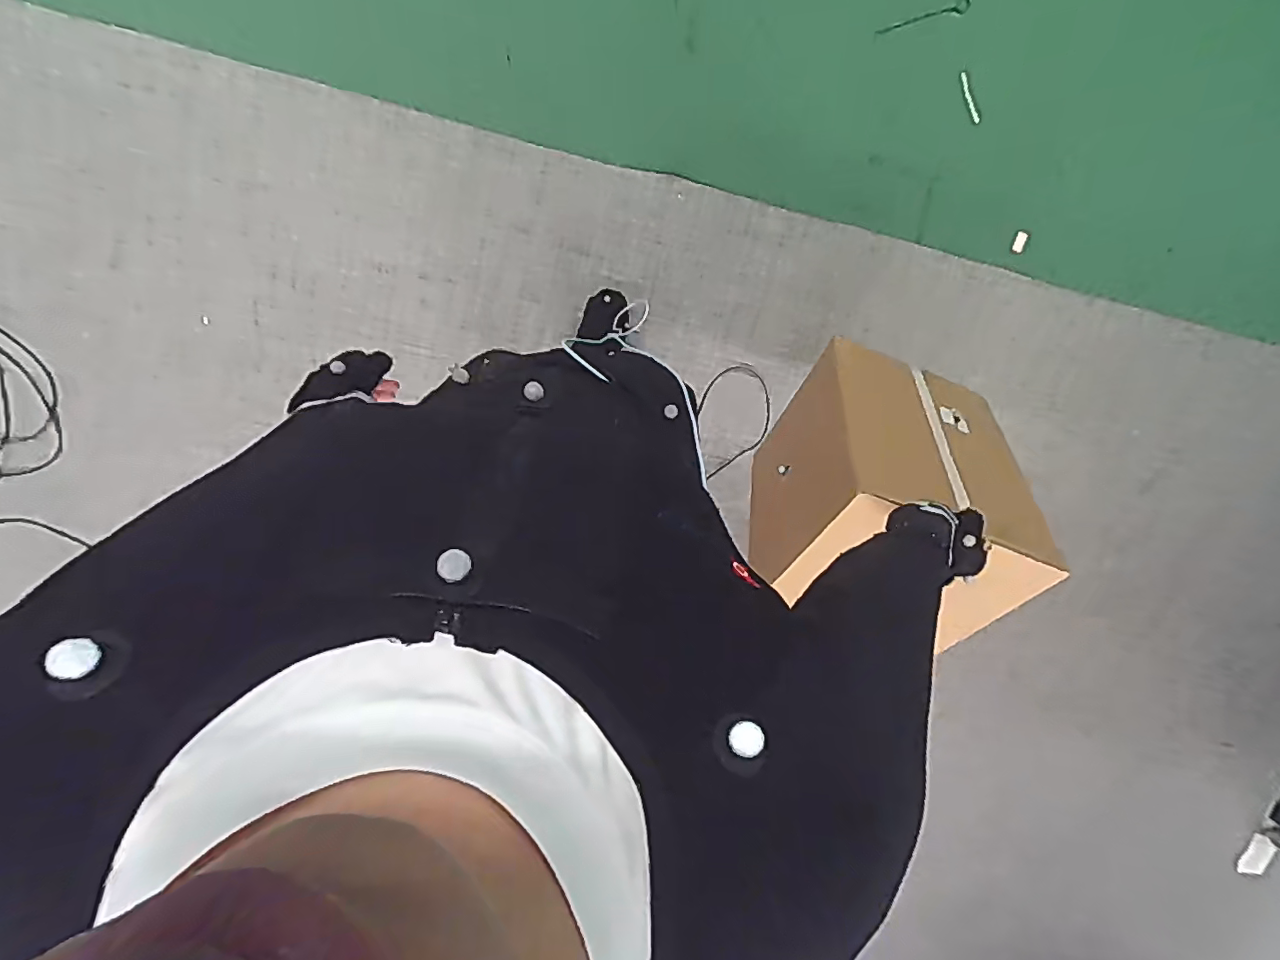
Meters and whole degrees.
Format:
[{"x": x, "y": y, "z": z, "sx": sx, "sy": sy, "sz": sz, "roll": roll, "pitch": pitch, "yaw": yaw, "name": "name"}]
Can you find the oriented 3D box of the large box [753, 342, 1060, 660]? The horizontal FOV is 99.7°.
[{"x": 0.404, "y": 0.033, "z": 0.945, "sx": 0.320, "sy": 0.408, "sz": 0.320, "roll": 21, "pitch": 133, "yaw": -6, "name": "large box"}]
